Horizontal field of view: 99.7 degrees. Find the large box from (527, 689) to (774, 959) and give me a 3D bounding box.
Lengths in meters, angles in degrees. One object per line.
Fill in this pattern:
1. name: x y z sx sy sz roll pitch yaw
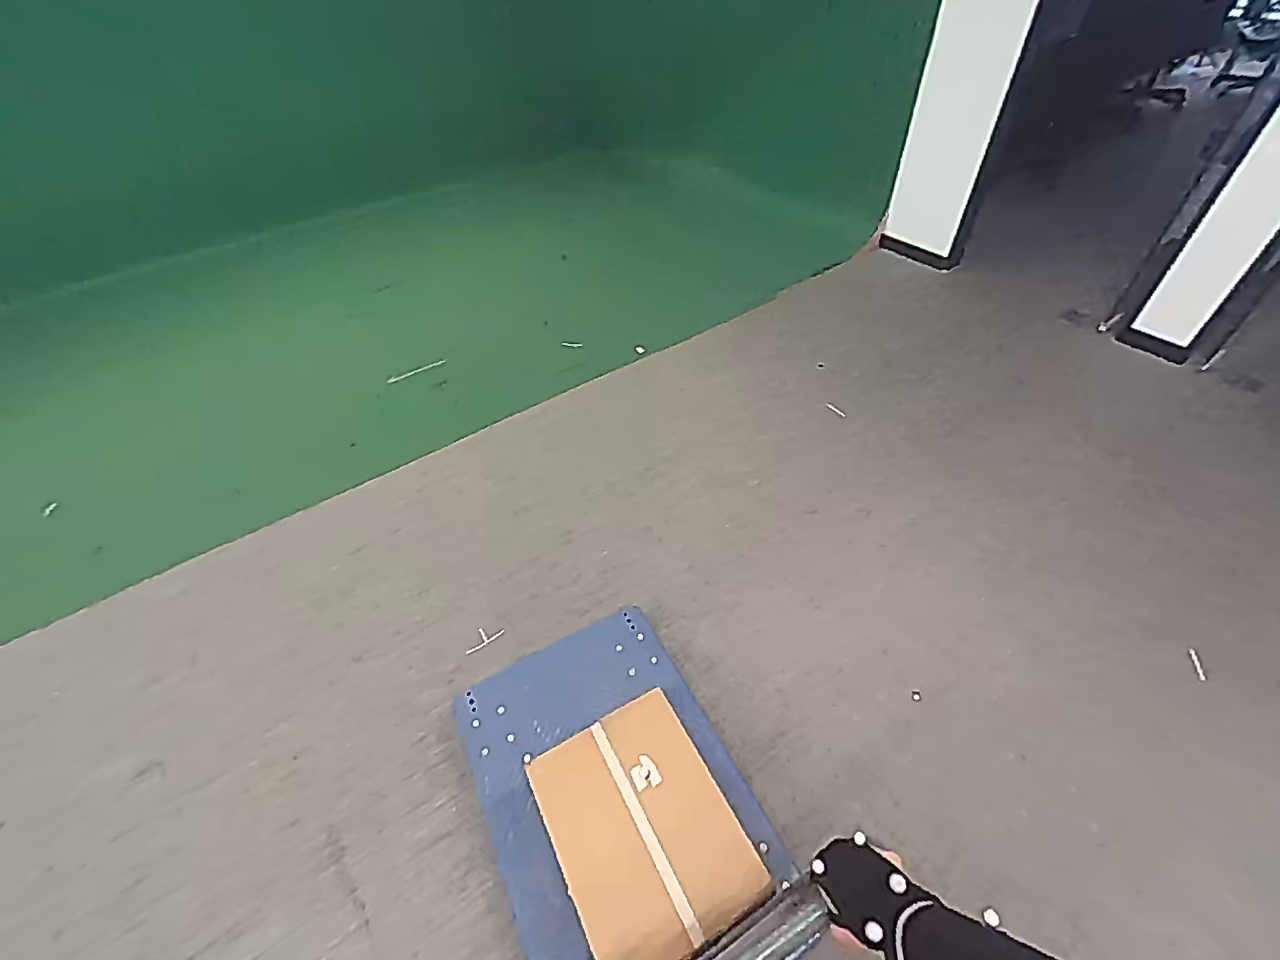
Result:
1. large box: 0.014 0.727 1.100 0.320 0.320 0.408 -23 49 -17
